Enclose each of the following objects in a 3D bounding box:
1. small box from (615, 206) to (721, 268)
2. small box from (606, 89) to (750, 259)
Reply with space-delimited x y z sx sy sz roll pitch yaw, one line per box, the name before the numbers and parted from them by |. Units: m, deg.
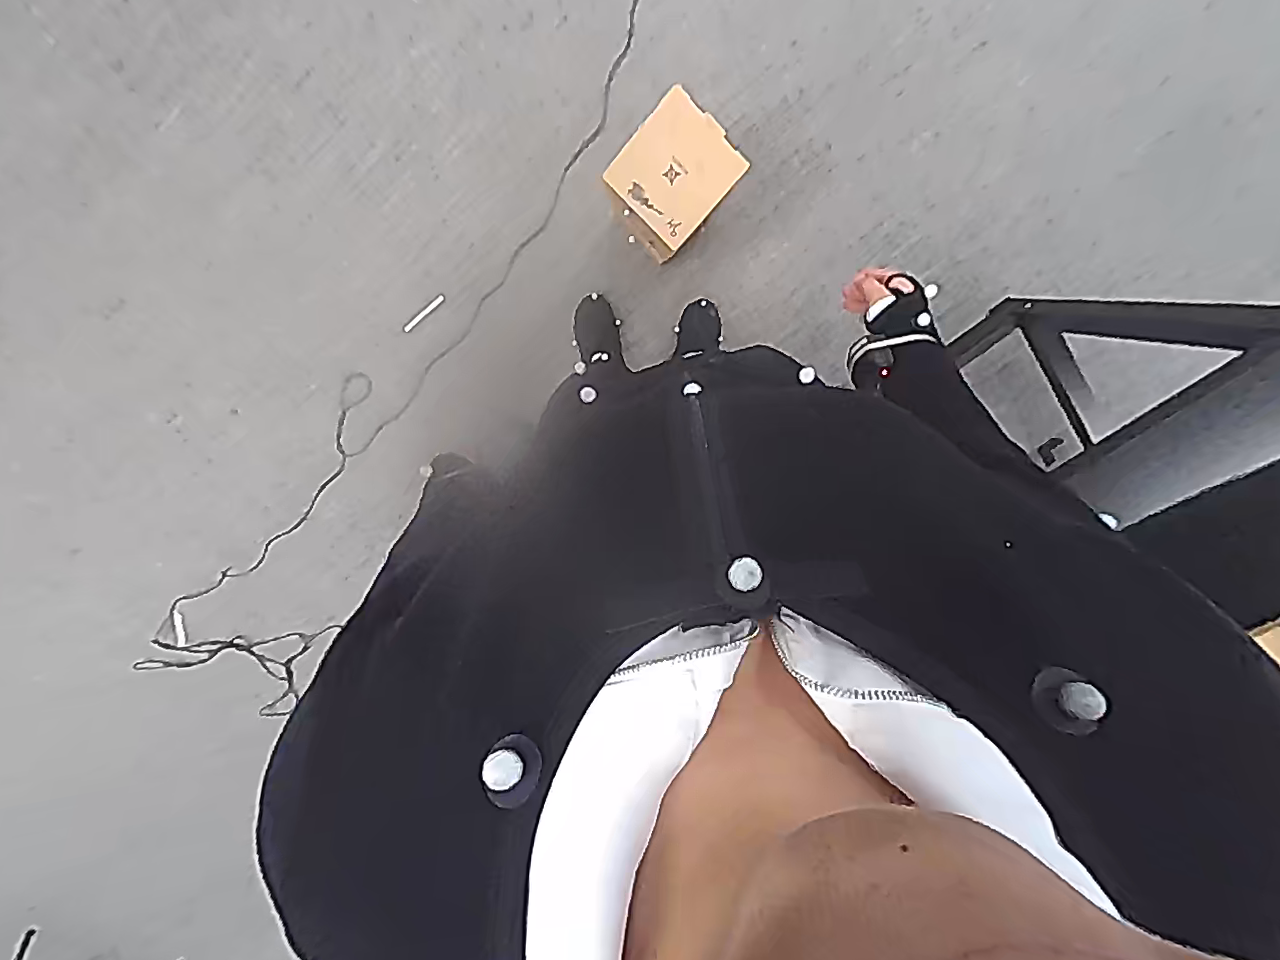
small box | 0.059 -0.613 1.242 0.179 0.176 0.168 -40 104 13
small box | 0.059 -0.509 0.932 0.168 0.176 0.179 42 103 -12
